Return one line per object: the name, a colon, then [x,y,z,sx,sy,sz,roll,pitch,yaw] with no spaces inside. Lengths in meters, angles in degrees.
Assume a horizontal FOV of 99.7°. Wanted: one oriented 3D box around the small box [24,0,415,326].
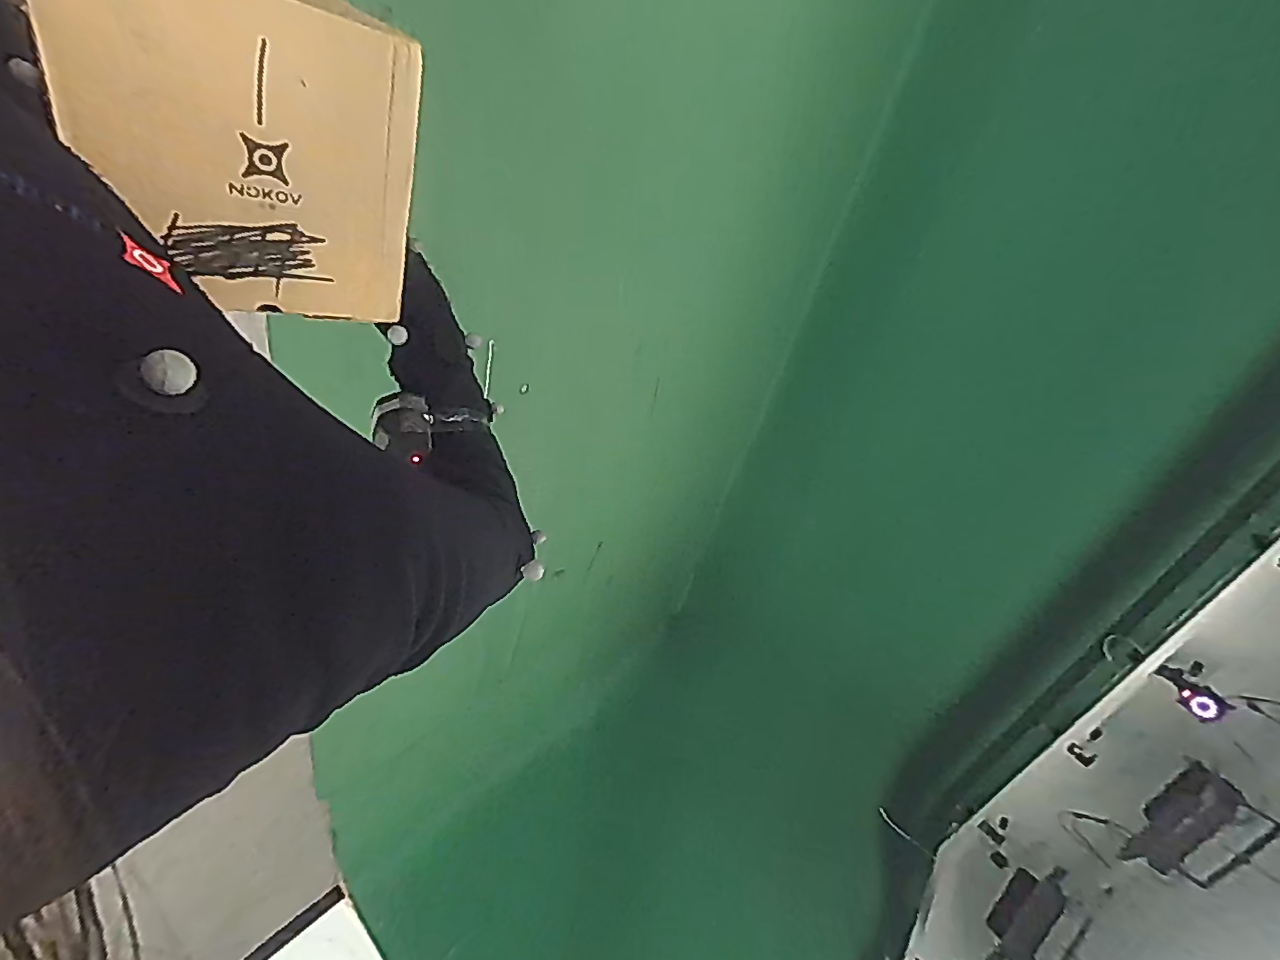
small box: [-0.270,-0.225,0.358,0.168,0.176,0.179,-10,135,-42]
